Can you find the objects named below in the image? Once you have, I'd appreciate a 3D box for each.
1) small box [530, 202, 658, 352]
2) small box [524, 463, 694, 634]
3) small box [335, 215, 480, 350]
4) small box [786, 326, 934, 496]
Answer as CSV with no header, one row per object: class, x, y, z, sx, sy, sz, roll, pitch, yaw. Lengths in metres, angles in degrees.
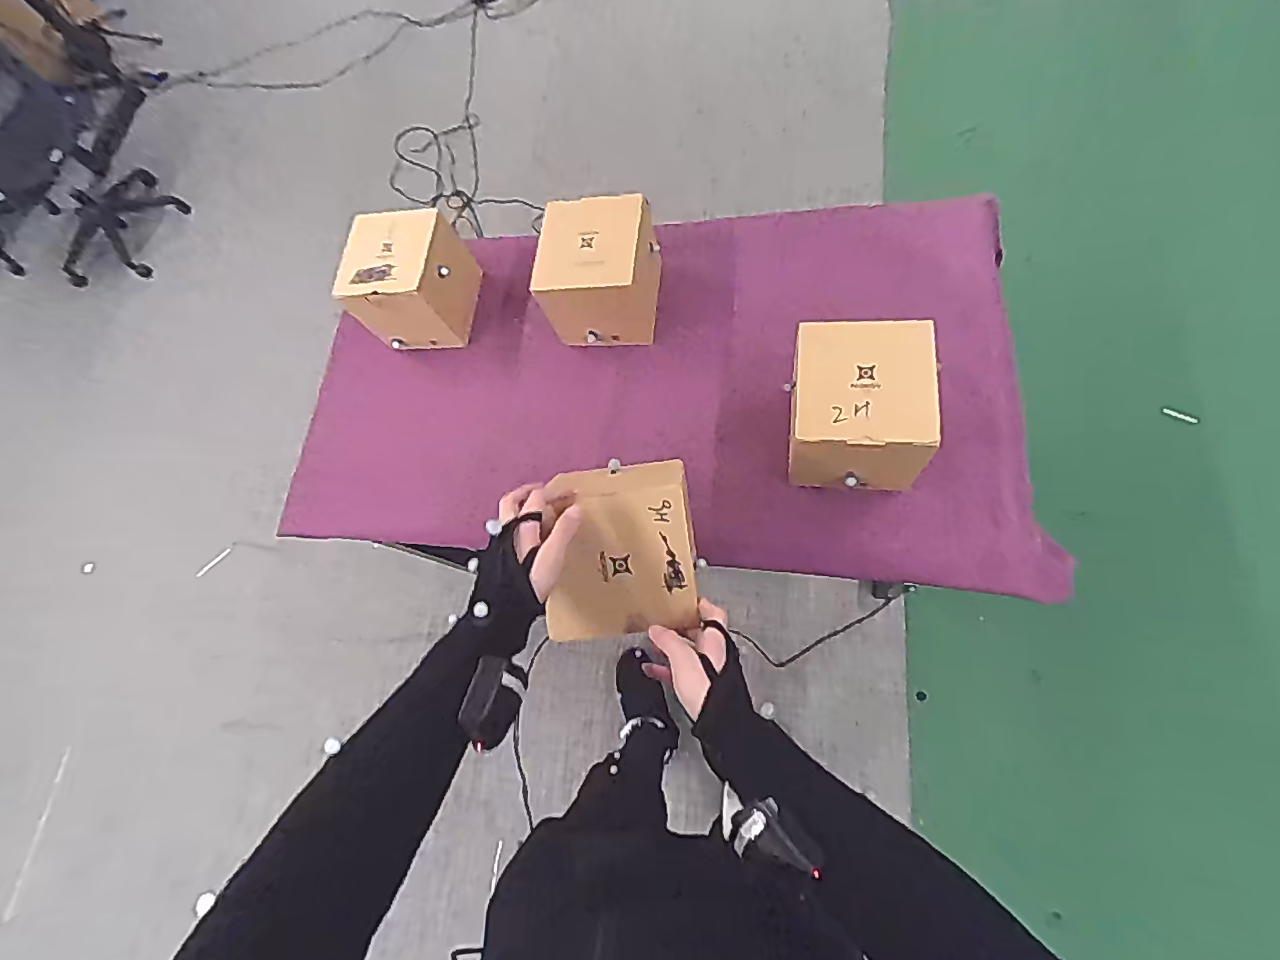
small box,-0.067,-0.338,0.922,0.168,0.176,0.179,2,72,14
small box,-0.026,0.077,0.674,0.179,0.176,0.168,-5,100,7
small box,-0.417,-0.354,1.000,0.168,0.176,0.179,1,71,12
small box,0.293,-0.091,0.751,0.168,0.176,0.179,3,70,14
